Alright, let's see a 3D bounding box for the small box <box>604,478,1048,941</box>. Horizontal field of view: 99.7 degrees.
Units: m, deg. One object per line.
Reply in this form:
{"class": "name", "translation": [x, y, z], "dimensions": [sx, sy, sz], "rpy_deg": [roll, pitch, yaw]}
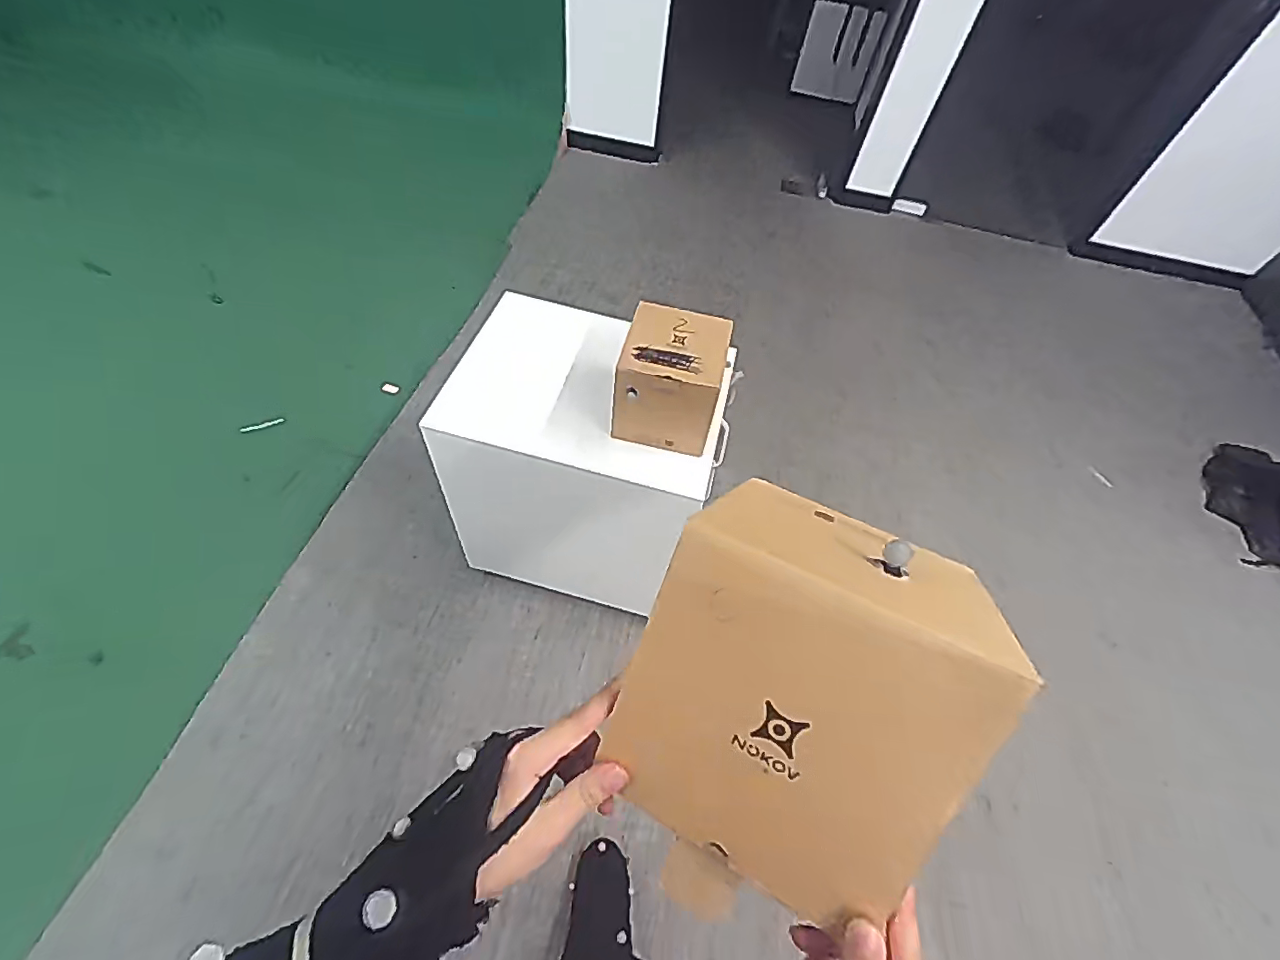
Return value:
{"class": "small box", "translation": [0.105, 0.112, 0.346], "dimensions": [0.168, 0.179, 0.176], "rpy_deg": [24, 17, 18]}
